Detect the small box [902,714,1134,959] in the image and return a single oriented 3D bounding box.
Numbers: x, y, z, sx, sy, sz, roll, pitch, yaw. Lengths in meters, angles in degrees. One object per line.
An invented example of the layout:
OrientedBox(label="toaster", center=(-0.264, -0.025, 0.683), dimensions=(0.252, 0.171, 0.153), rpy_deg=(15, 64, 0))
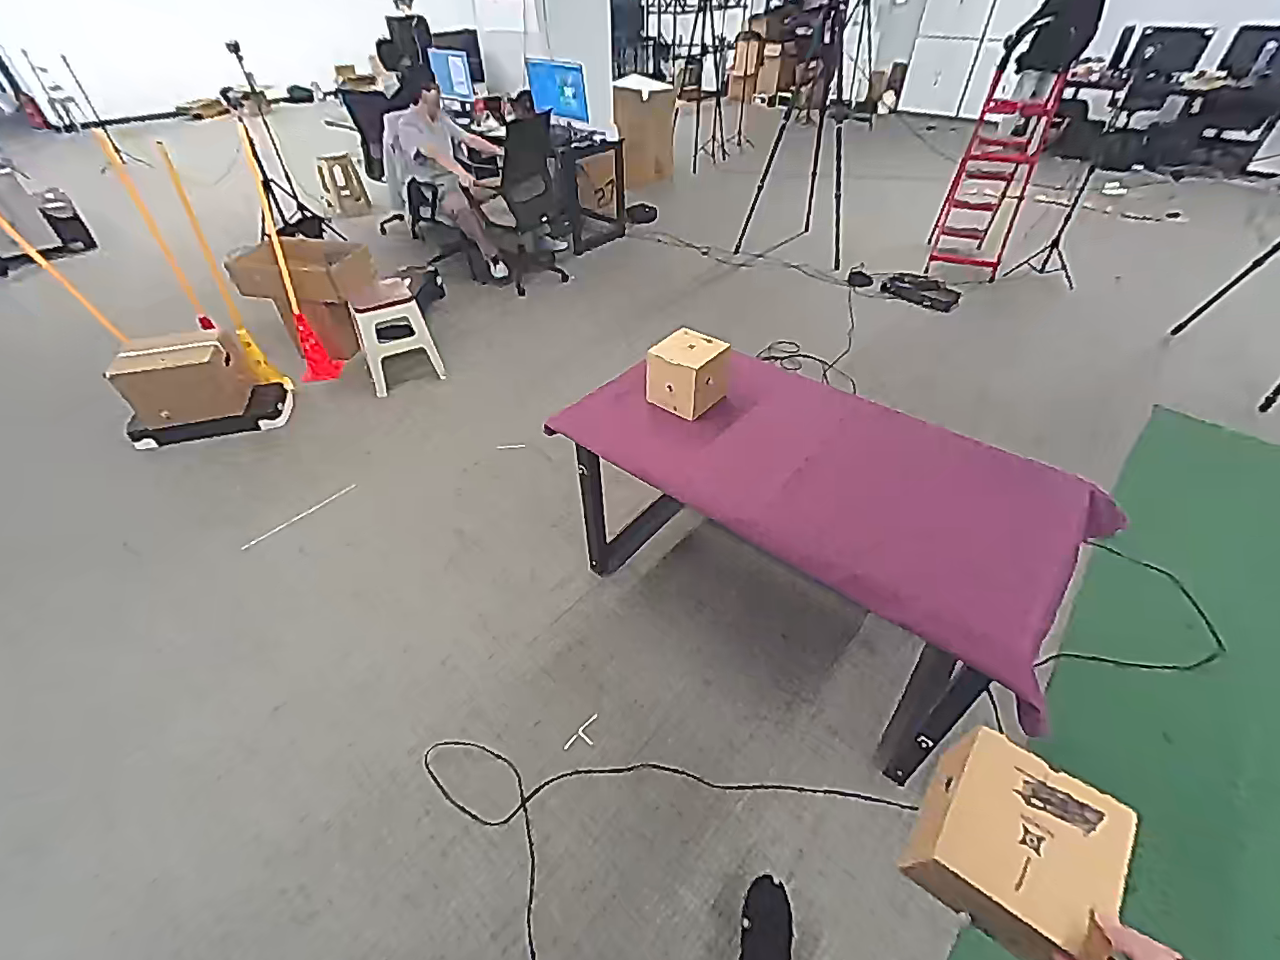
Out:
OrientedBox(label="small box", center=(0.448, 0.431, 0.664), dimensions=(0.168, 0.176, 0.179), rpy_deg=(27, 60, 28))

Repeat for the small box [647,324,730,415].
OrientedBox(label="small box", center=(0.137, -0.312, 1.533), dimensions=(0.168, 0.176, 0.179), rpy_deg=(29, 52, 27))
